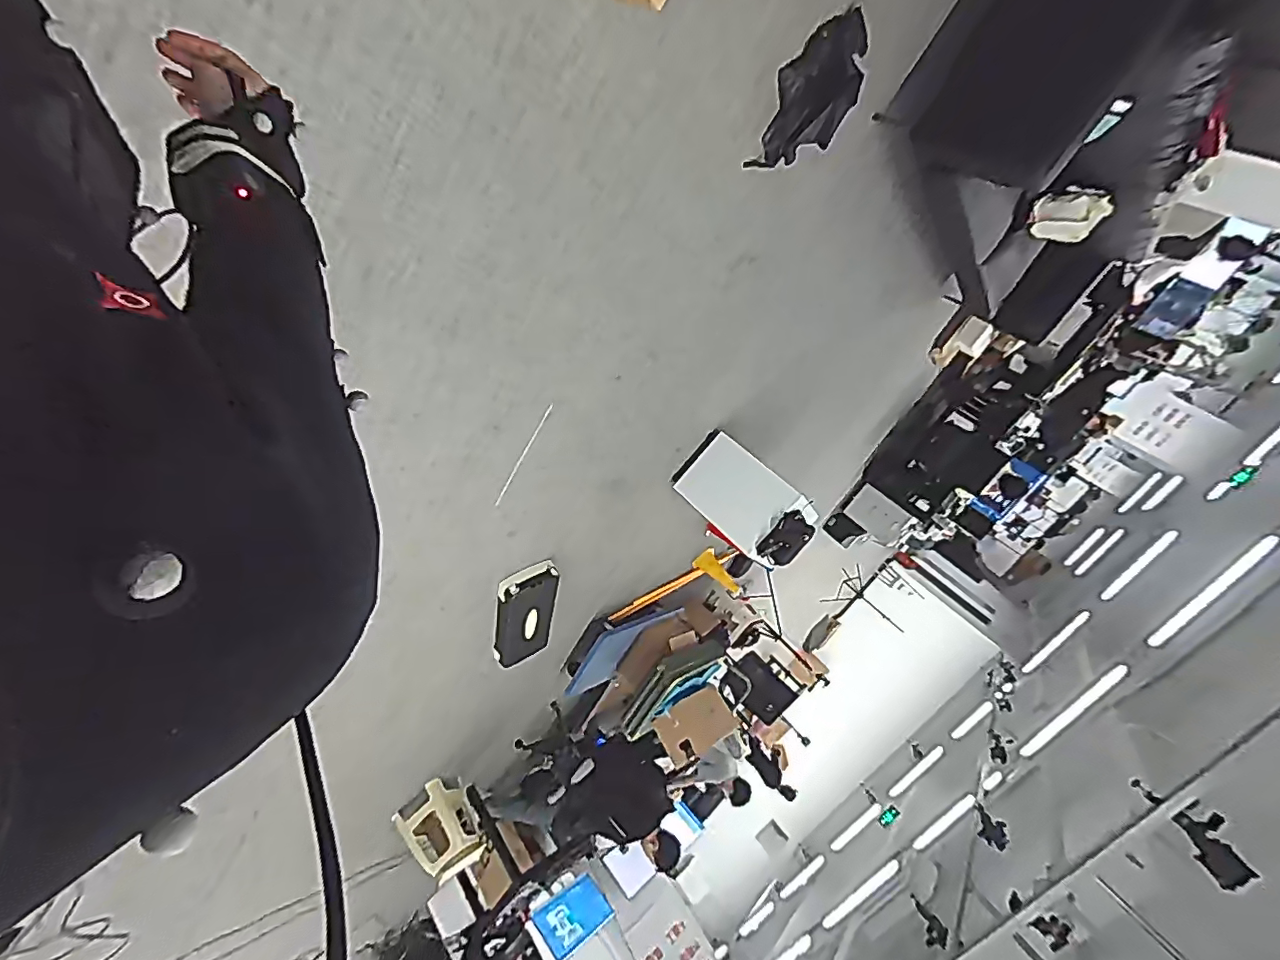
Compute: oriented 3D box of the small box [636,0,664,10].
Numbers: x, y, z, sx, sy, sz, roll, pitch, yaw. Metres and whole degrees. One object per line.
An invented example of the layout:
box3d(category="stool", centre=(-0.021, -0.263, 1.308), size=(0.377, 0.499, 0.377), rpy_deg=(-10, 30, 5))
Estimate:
box3d(category="small box", centre=(-0.002, -1.155, 1.136), size=(0.179, 0.176, 0.168), rpy_deg=(-53, 151, 12))
